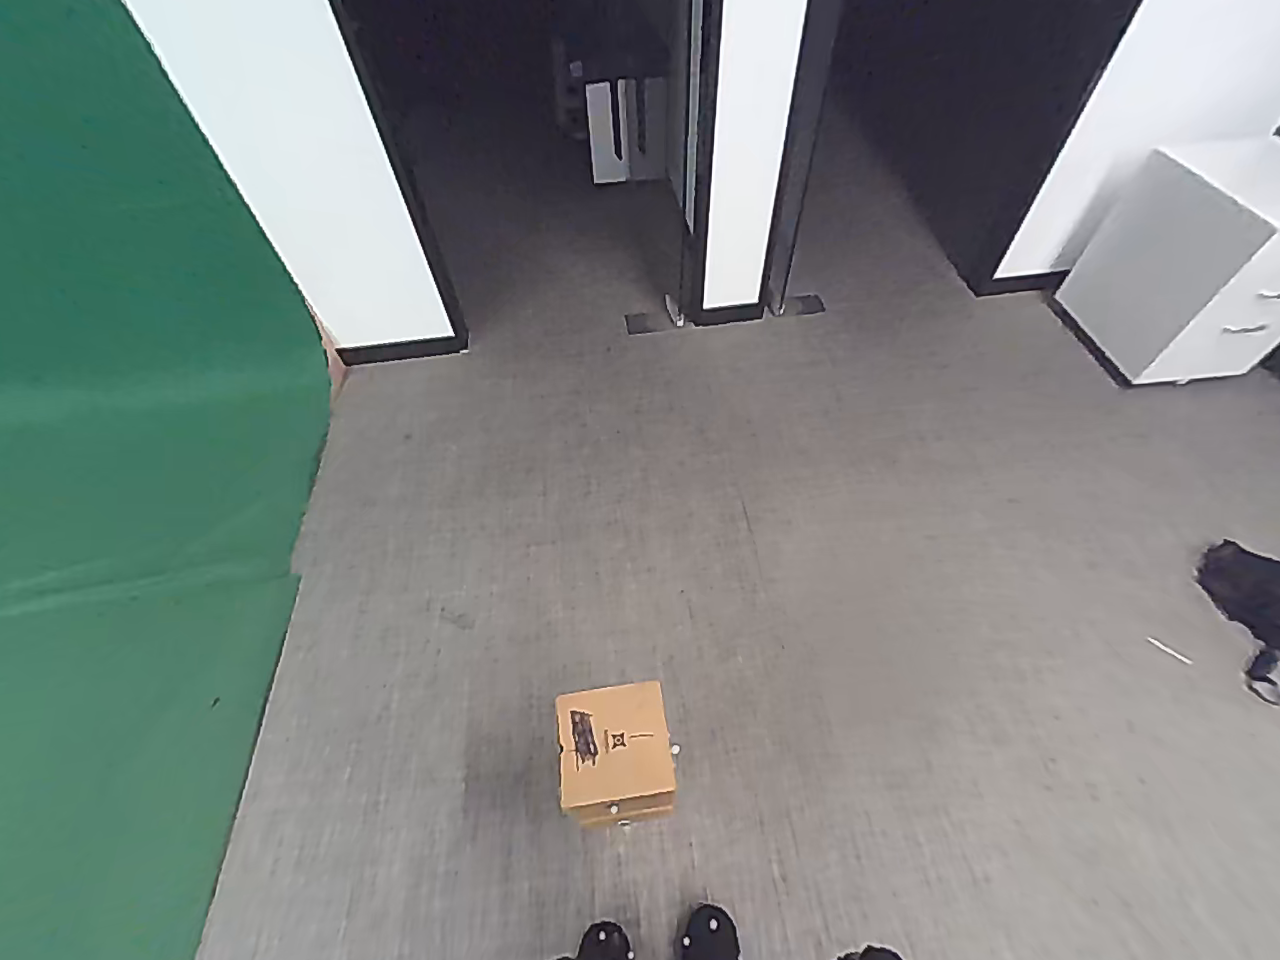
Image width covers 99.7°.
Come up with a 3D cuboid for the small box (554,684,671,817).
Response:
[{"bbox_3d":[-0.044,0.468,0.928,0.179,0.176,0.168,-8,54,-2],"label":"small box"}]

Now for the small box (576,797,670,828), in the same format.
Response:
[{"bbox_3d":[-0.037,0.555,1.046,0.168,0.176,0.179,-9,55,-2],"label":"small box"}]
